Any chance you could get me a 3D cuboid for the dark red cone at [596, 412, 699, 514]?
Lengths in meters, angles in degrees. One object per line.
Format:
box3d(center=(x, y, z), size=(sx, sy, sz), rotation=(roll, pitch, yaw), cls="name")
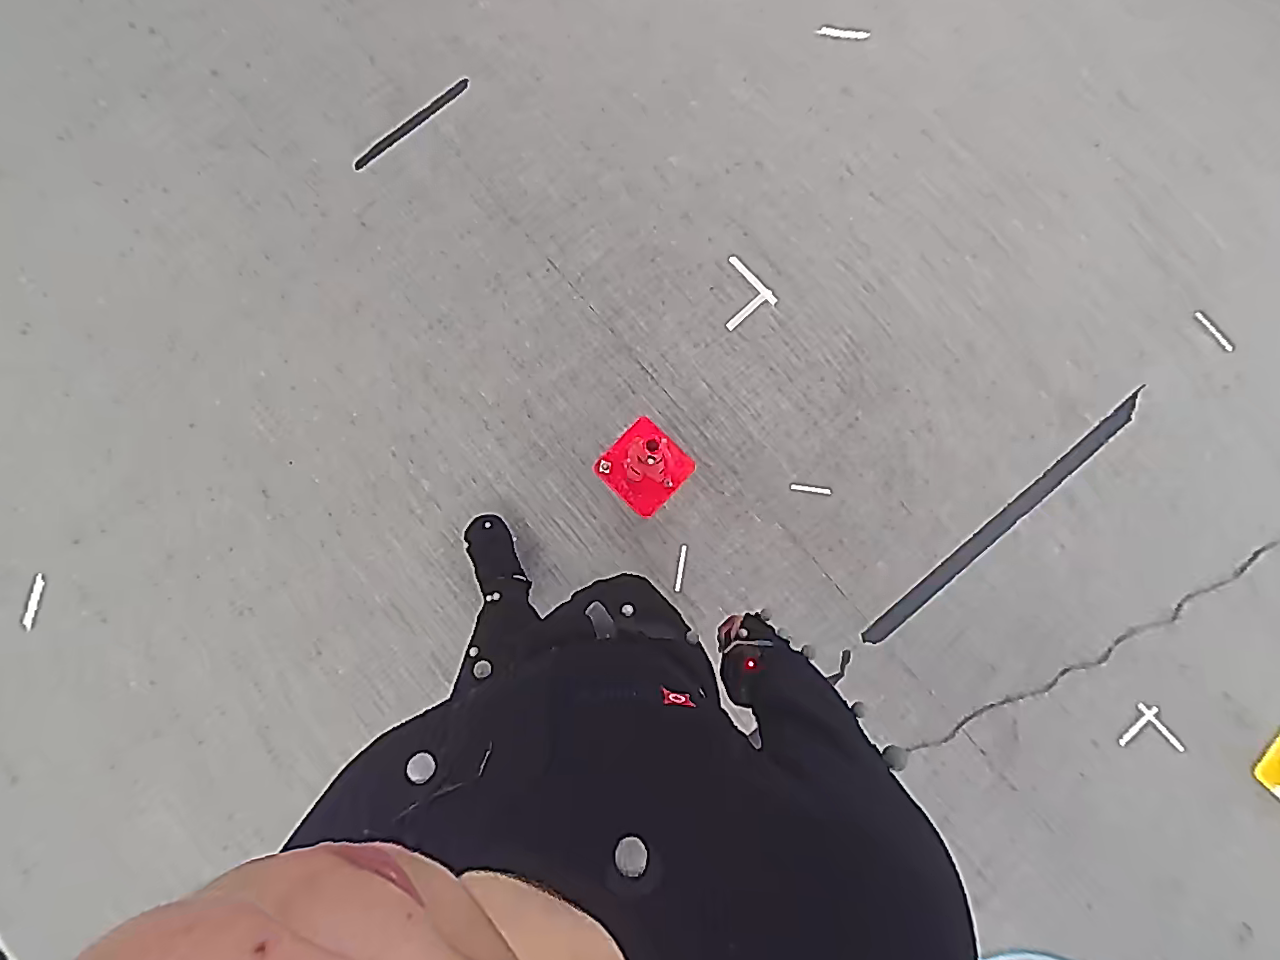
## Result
box3d(center=(0.026, -0.059, 1.187), size=(0.201, 0.394, 0.202), rotation=(42, 85, 1), cls="dark red cone")
